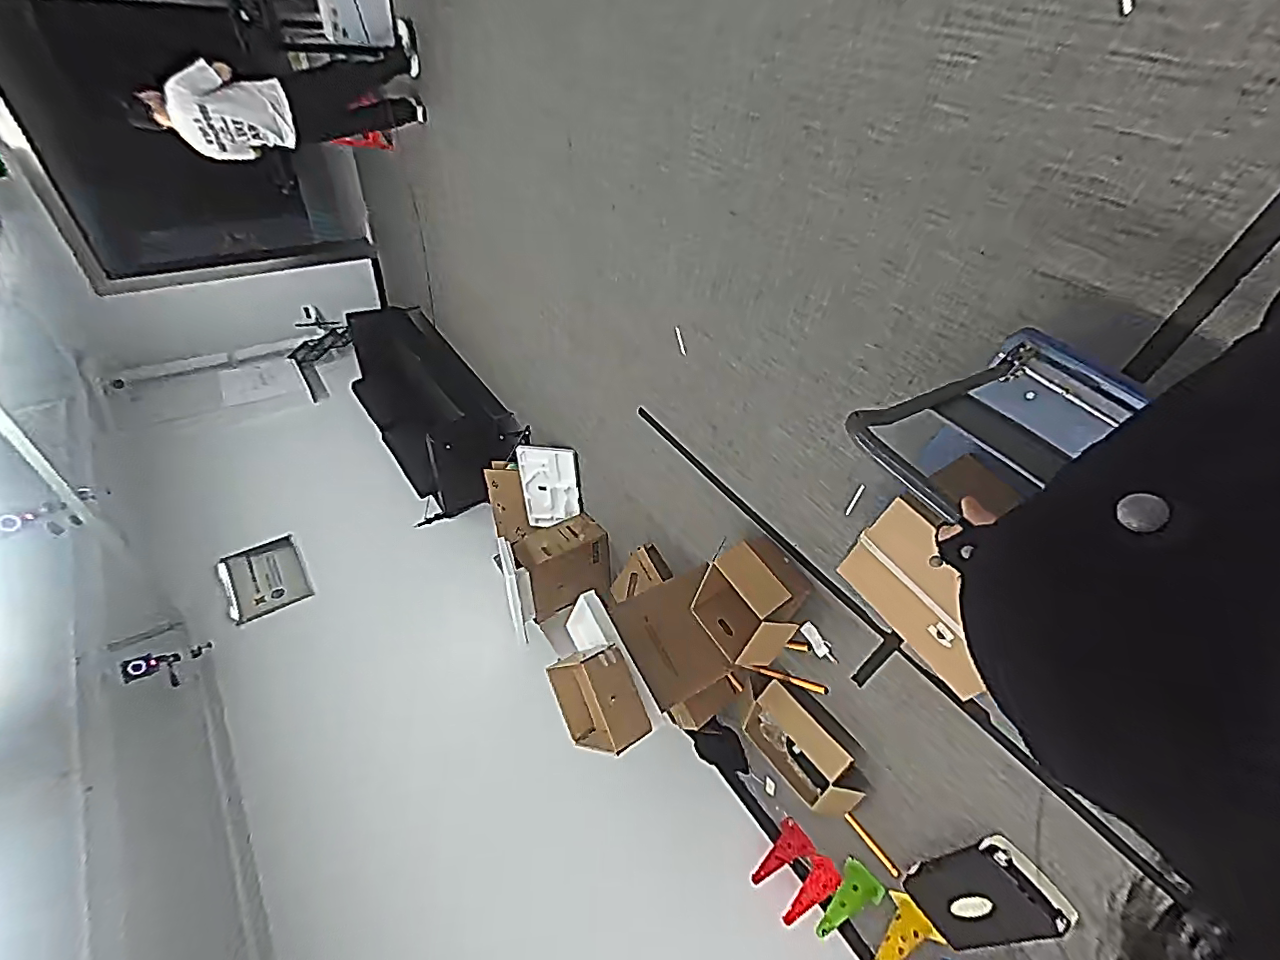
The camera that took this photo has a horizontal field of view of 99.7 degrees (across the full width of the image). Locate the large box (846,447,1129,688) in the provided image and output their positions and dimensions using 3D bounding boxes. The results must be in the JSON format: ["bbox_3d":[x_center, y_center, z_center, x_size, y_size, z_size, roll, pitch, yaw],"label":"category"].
[{"bbox_3d":[0.791,0.190,1.278,0.408,0.320,0.320,49,147,27],"label":"large box"}]
